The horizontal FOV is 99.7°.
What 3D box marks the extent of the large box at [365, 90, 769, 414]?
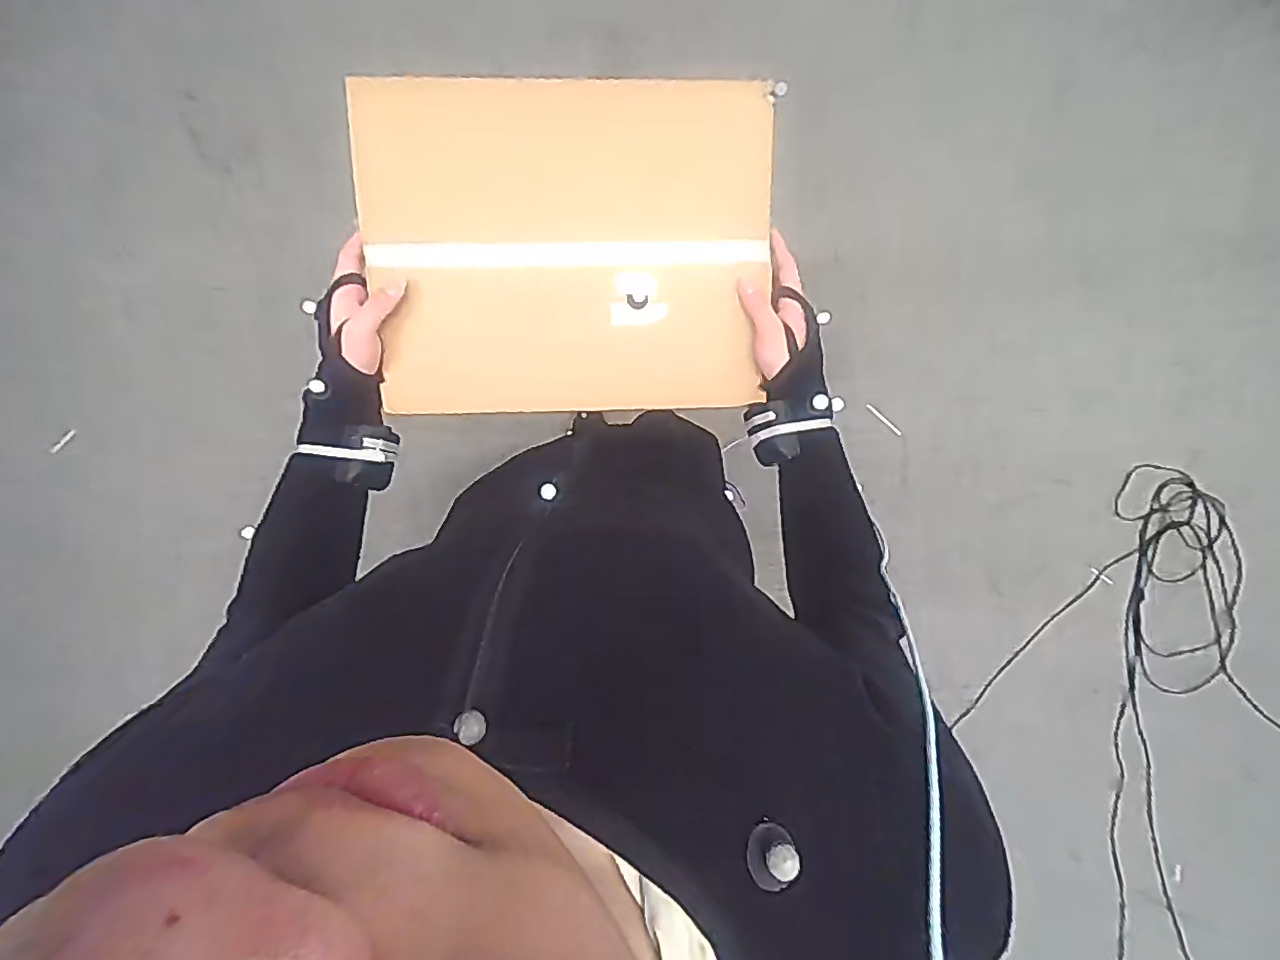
[{"bbox_3d":[-0.075,-0.256,0.701,0.408,0.320,0.320,-2,101,-3],"label":"large box"}]
